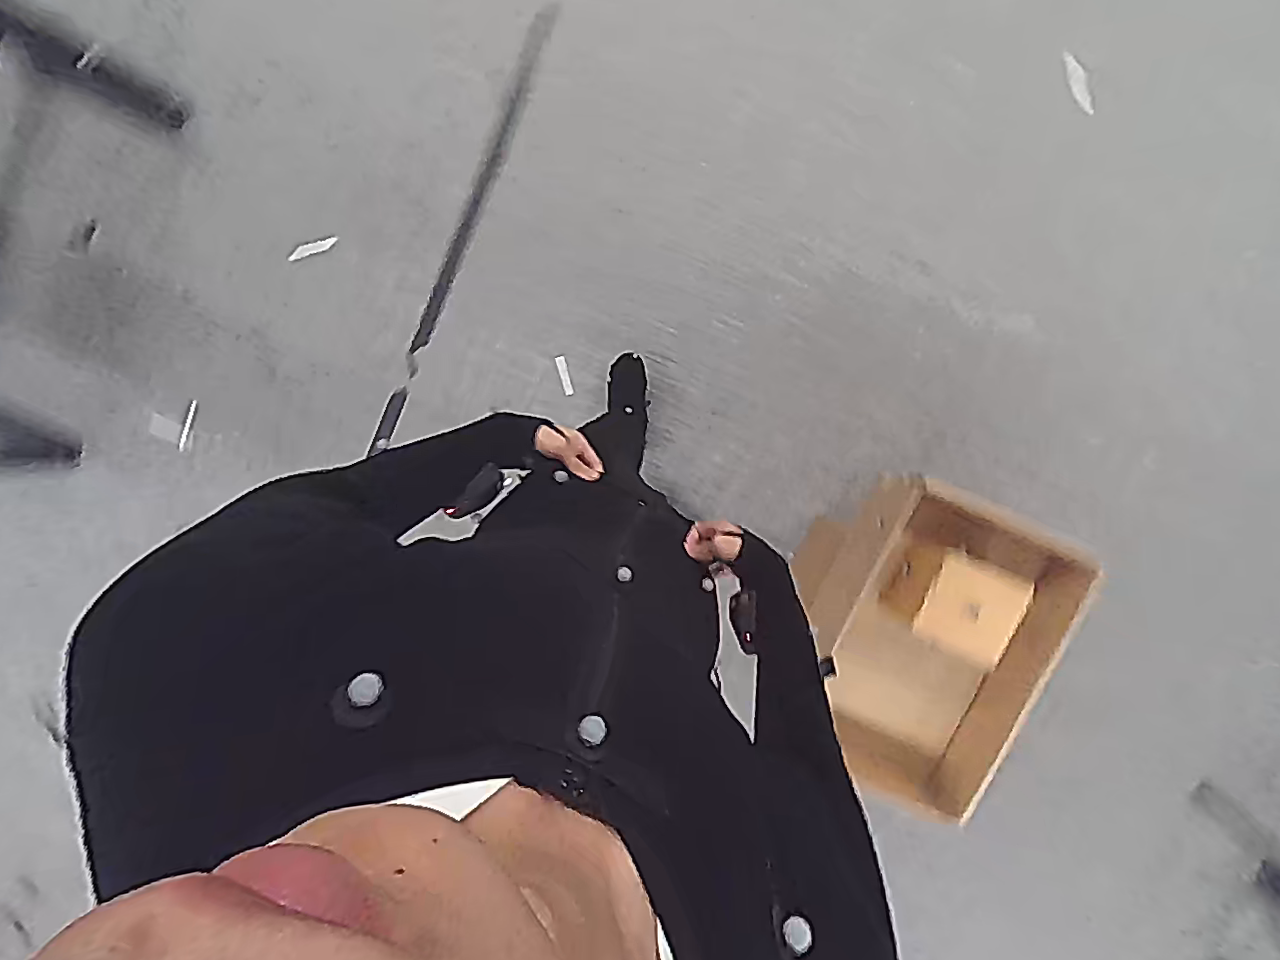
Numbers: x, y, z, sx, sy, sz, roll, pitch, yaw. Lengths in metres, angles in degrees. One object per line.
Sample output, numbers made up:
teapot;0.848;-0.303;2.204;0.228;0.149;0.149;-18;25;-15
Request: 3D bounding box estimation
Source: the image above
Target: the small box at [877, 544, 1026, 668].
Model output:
small box;0.630;0.248;1.116;0.179;0.176;0.168;25;96;2
